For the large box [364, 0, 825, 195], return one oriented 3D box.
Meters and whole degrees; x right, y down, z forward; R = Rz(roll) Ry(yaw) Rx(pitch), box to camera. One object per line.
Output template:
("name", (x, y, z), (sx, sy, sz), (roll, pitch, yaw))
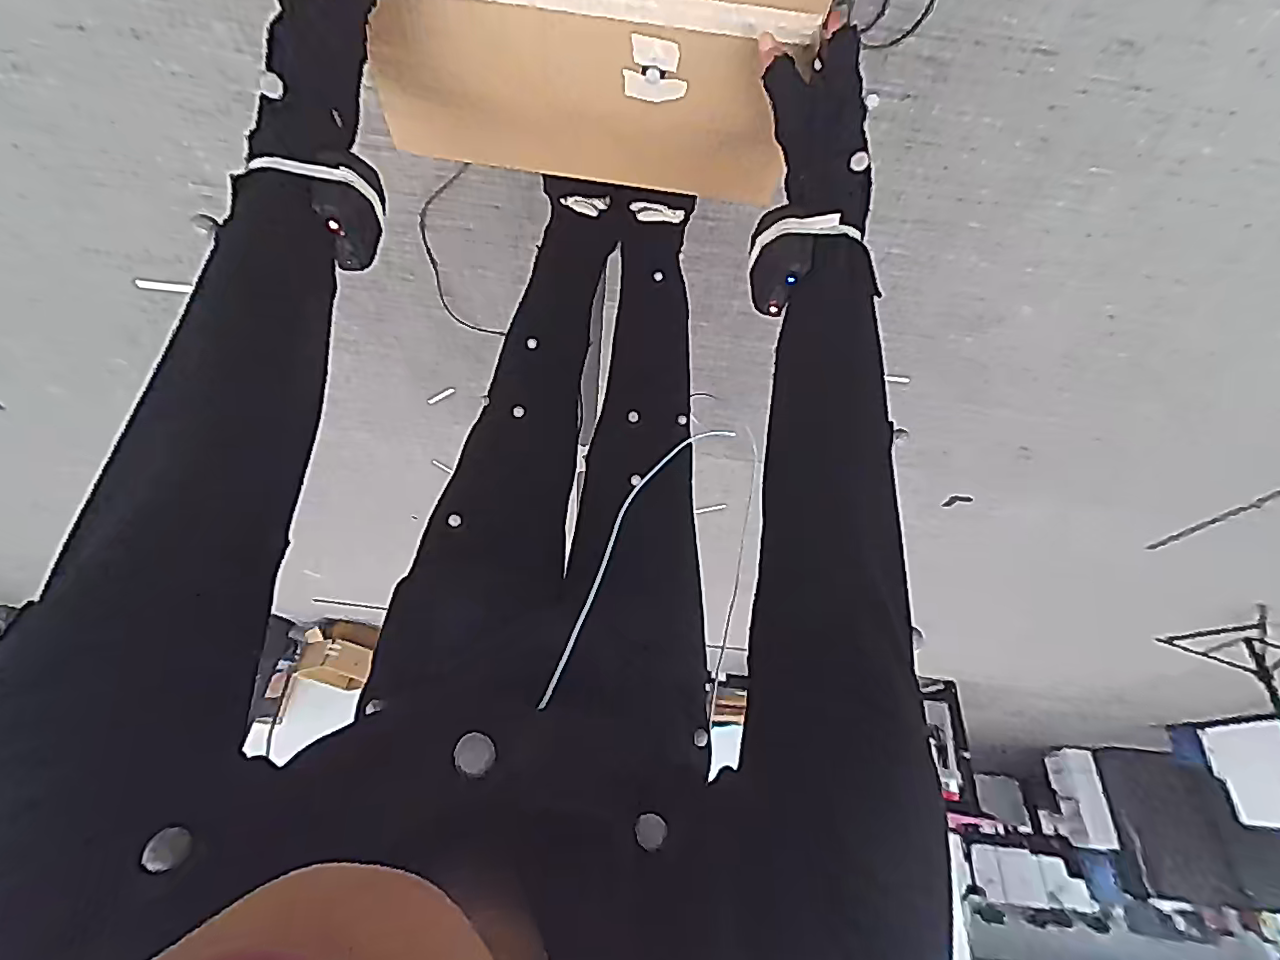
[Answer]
("large box", (-0.030, -0.536, 0.536), (0.408, 0.320, 0.320), (7, 149, -1))
